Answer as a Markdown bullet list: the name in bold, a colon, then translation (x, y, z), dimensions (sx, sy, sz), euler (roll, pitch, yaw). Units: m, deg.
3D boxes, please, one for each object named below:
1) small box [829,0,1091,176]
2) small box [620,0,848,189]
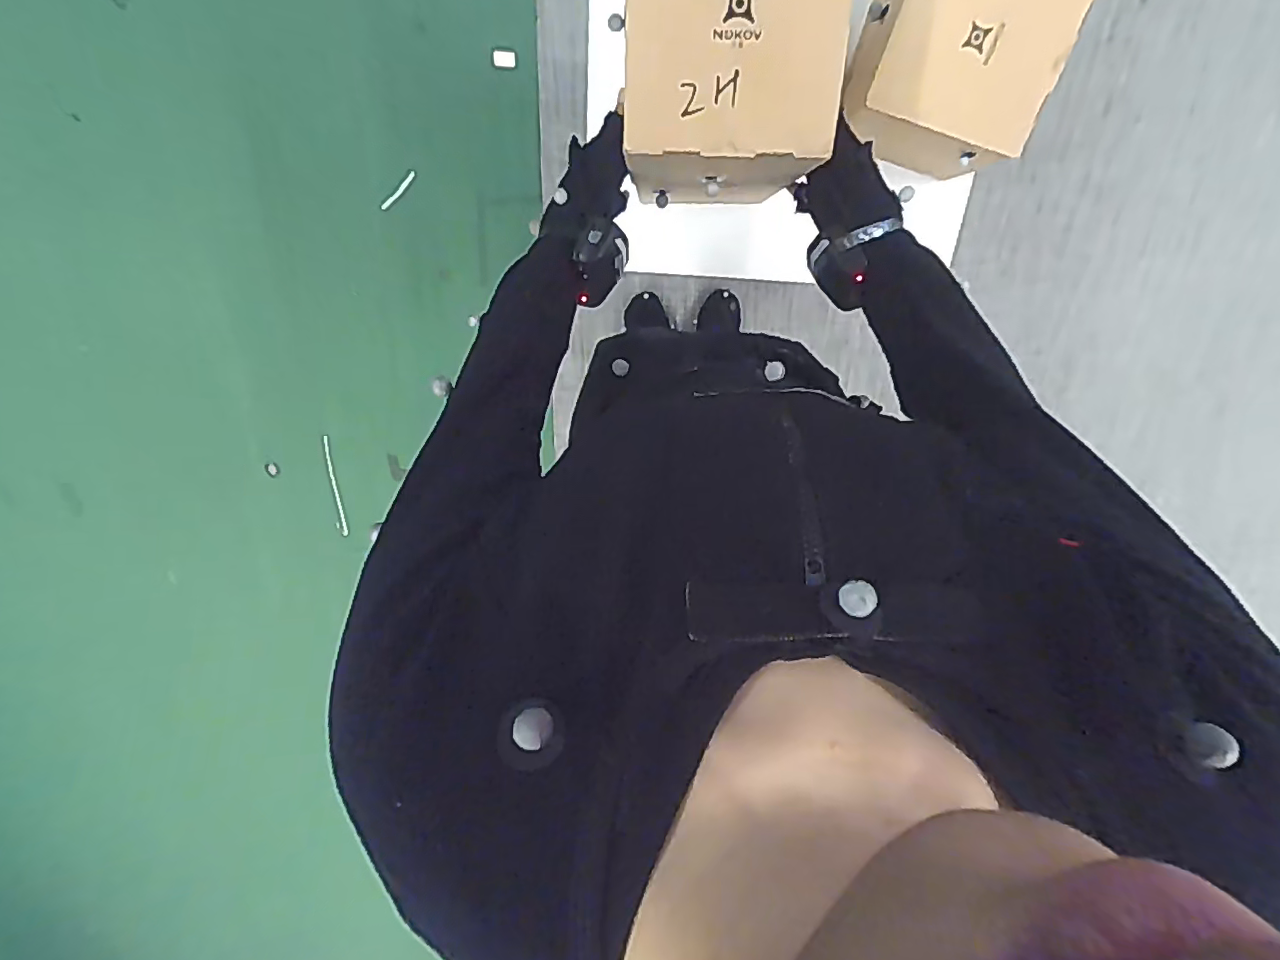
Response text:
- **small box**: translation (0.334, -0.458, 0.601), dimensions (0.179, 0.176, 0.168), euler (15, 112, -4)
- **small box**: translation (0.070, -0.367, 0.469), dimensions (0.168, 0.176, 0.179), euler (2, 111, 1)
